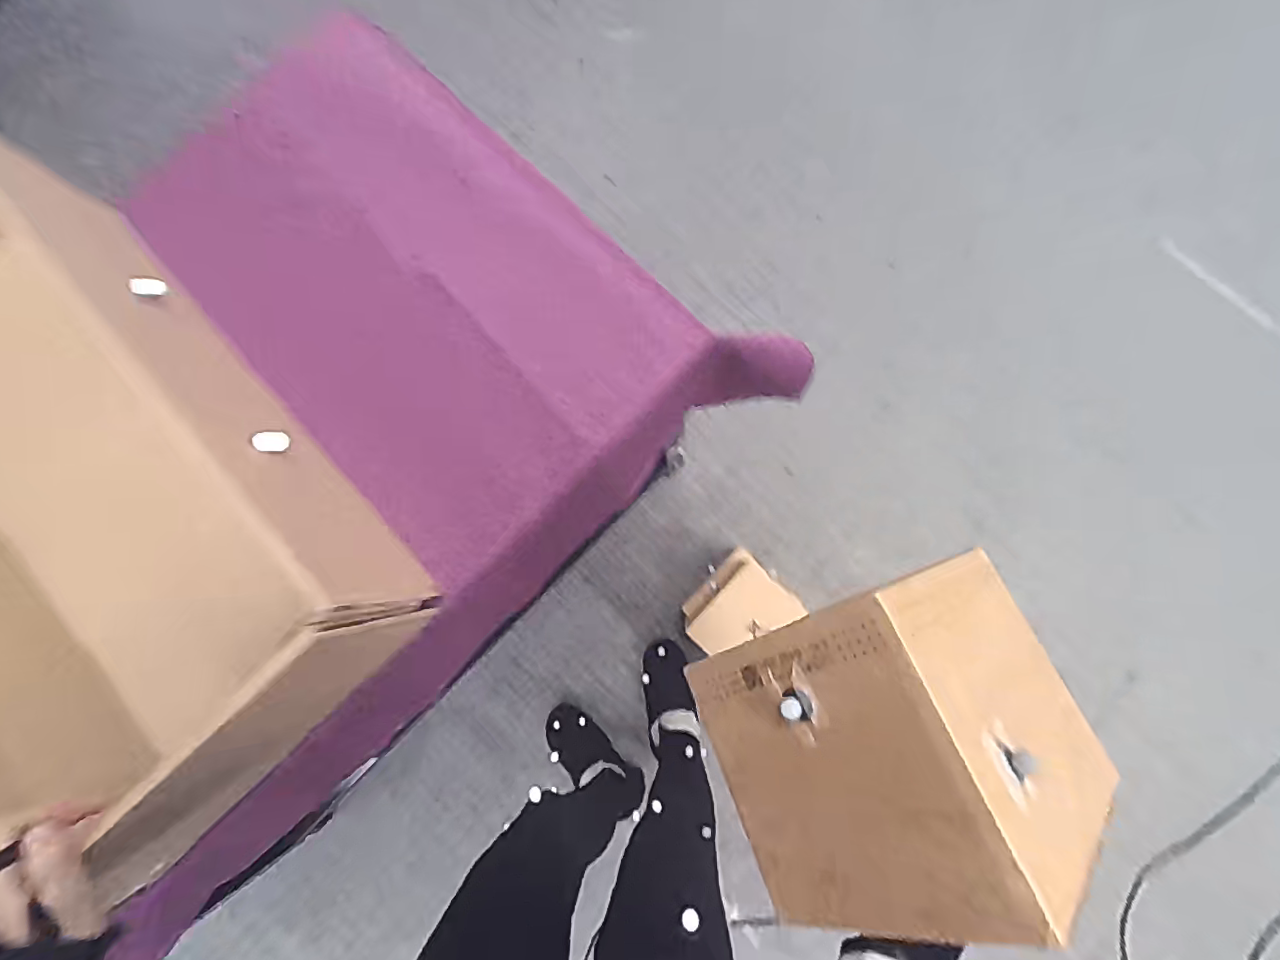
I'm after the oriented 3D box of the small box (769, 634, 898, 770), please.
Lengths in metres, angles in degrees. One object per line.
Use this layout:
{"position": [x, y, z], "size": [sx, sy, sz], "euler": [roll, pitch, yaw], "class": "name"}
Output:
{"position": [0.381, 0.441, 1.104], "size": [0.168, 0.176, 0.179], "euler": [40, 86, 9], "class": "small box"}
